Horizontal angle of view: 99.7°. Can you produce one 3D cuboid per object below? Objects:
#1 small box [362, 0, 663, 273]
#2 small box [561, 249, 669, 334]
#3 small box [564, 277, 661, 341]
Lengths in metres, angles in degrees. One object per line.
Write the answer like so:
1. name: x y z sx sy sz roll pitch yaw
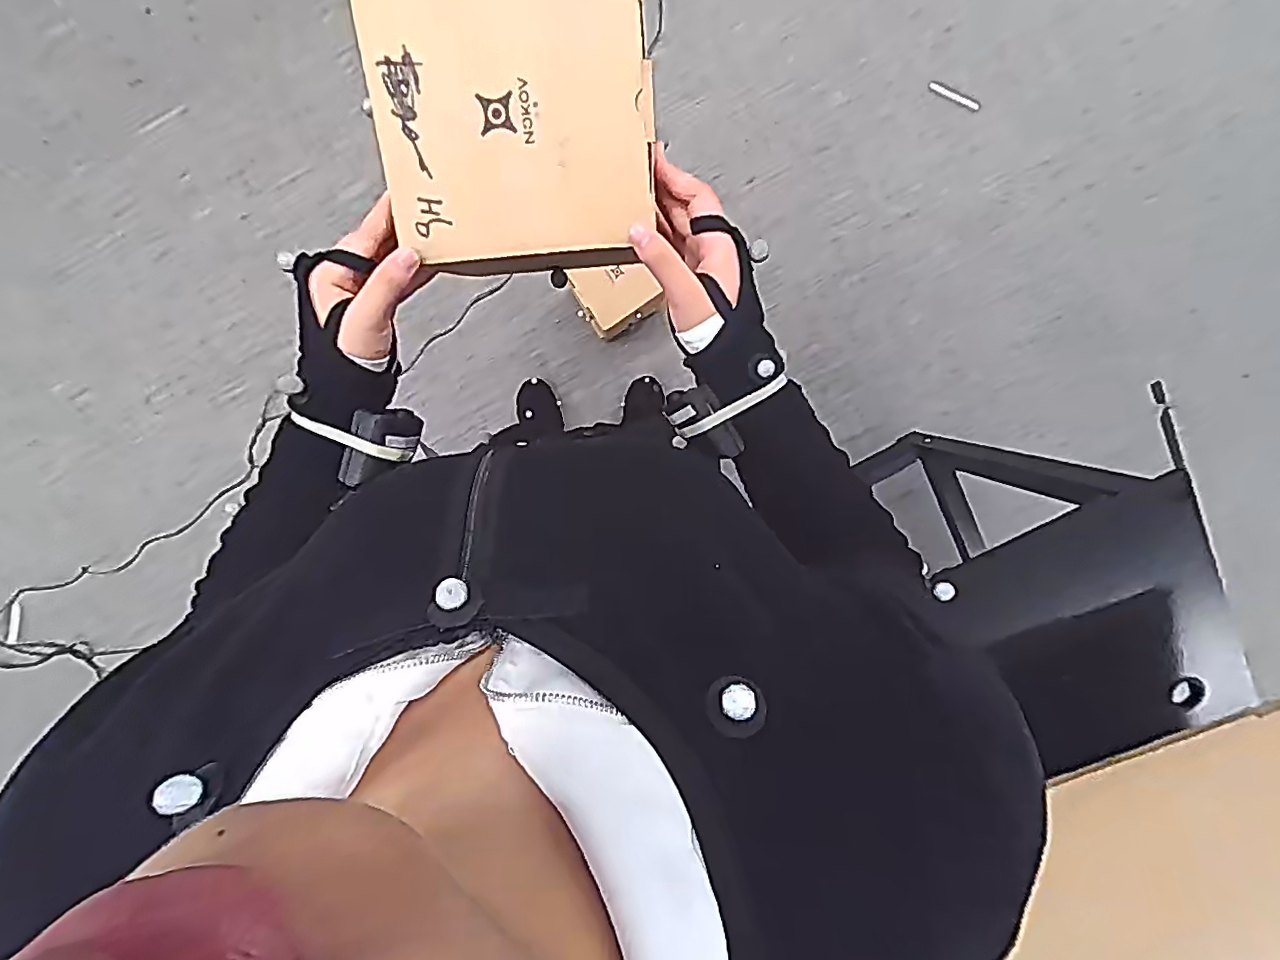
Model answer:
1. small box: -0.079 -0.258 0.420 0.179 0.176 0.168 -5 107 0
2. small box: -0.055 -0.436 1.175 0.179 0.176 0.168 -34 101 3
3. small box: -0.067 -0.462 1.335 0.179 0.176 0.168 -31 100 4
